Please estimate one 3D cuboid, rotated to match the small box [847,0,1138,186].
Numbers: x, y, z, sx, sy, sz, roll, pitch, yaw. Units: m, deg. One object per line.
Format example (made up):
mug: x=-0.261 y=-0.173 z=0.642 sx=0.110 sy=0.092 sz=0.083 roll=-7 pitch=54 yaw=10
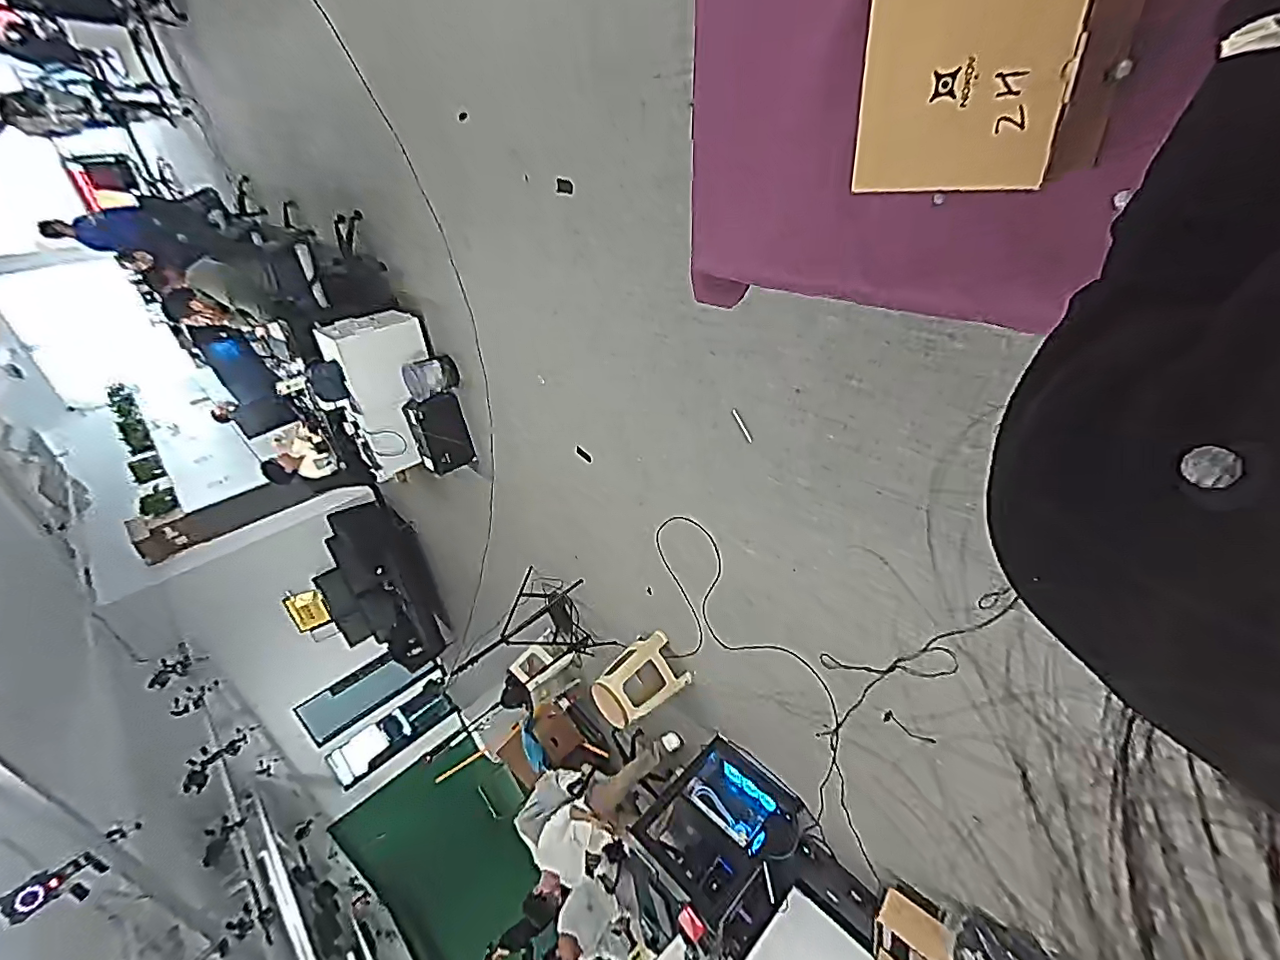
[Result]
small box: x=0.330 y=-0.383 z=0.521 sx=0.179 sy=0.176 sz=0.168 roll=26 pitch=133 yaw=40
